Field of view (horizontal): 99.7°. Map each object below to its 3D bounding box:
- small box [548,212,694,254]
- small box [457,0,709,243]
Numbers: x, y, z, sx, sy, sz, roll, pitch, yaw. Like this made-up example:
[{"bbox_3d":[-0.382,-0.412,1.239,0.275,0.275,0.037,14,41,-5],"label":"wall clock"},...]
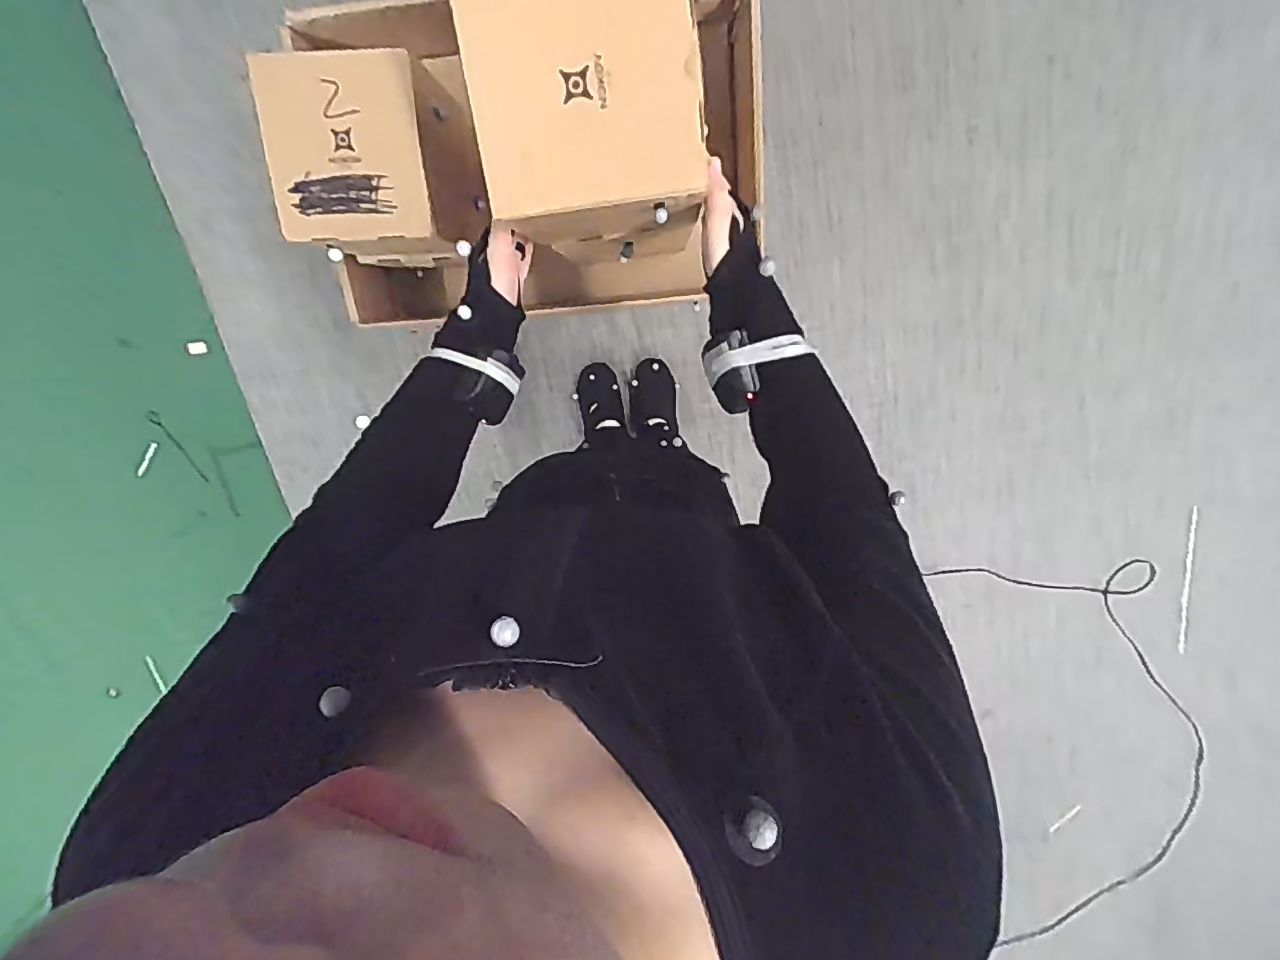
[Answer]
[{"bbox_3d":[-0.028,-0.371,0.638,0.168,0.176,0.179,-7,109,4],"label":"small box"},{"bbox_3d":[-0.037,-0.318,0.483,0.179,0.176,0.168,-7,107,3],"label":"small box"}]
